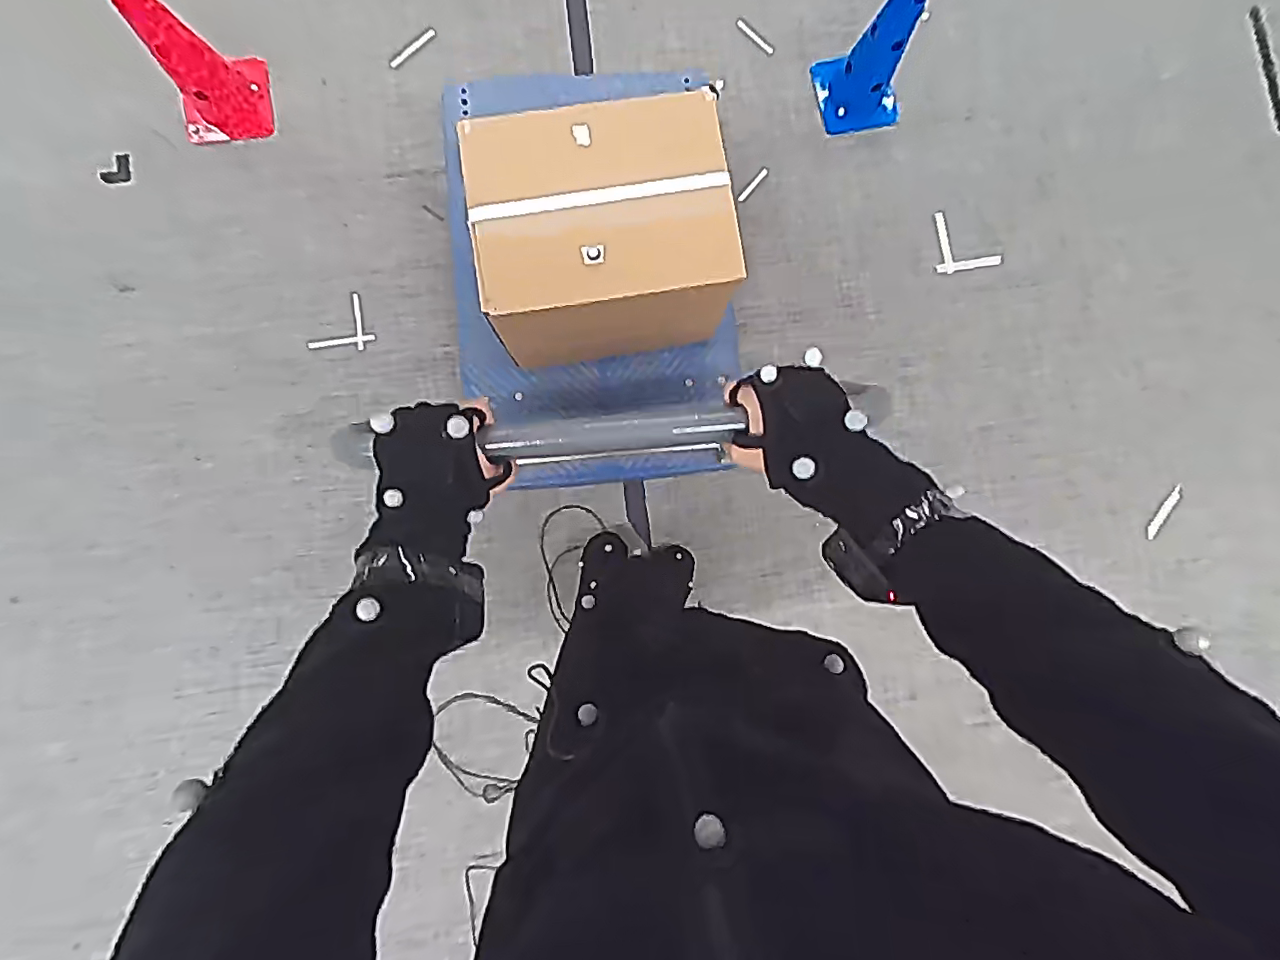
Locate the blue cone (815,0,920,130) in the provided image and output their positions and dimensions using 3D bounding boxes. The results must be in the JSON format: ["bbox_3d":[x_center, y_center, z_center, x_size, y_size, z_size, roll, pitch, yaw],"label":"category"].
[{"bbox_3d":[0.562,-1.004,1.217,0.193,0.380,0.192,-11,86,-4],"label":"blue cone"}]
